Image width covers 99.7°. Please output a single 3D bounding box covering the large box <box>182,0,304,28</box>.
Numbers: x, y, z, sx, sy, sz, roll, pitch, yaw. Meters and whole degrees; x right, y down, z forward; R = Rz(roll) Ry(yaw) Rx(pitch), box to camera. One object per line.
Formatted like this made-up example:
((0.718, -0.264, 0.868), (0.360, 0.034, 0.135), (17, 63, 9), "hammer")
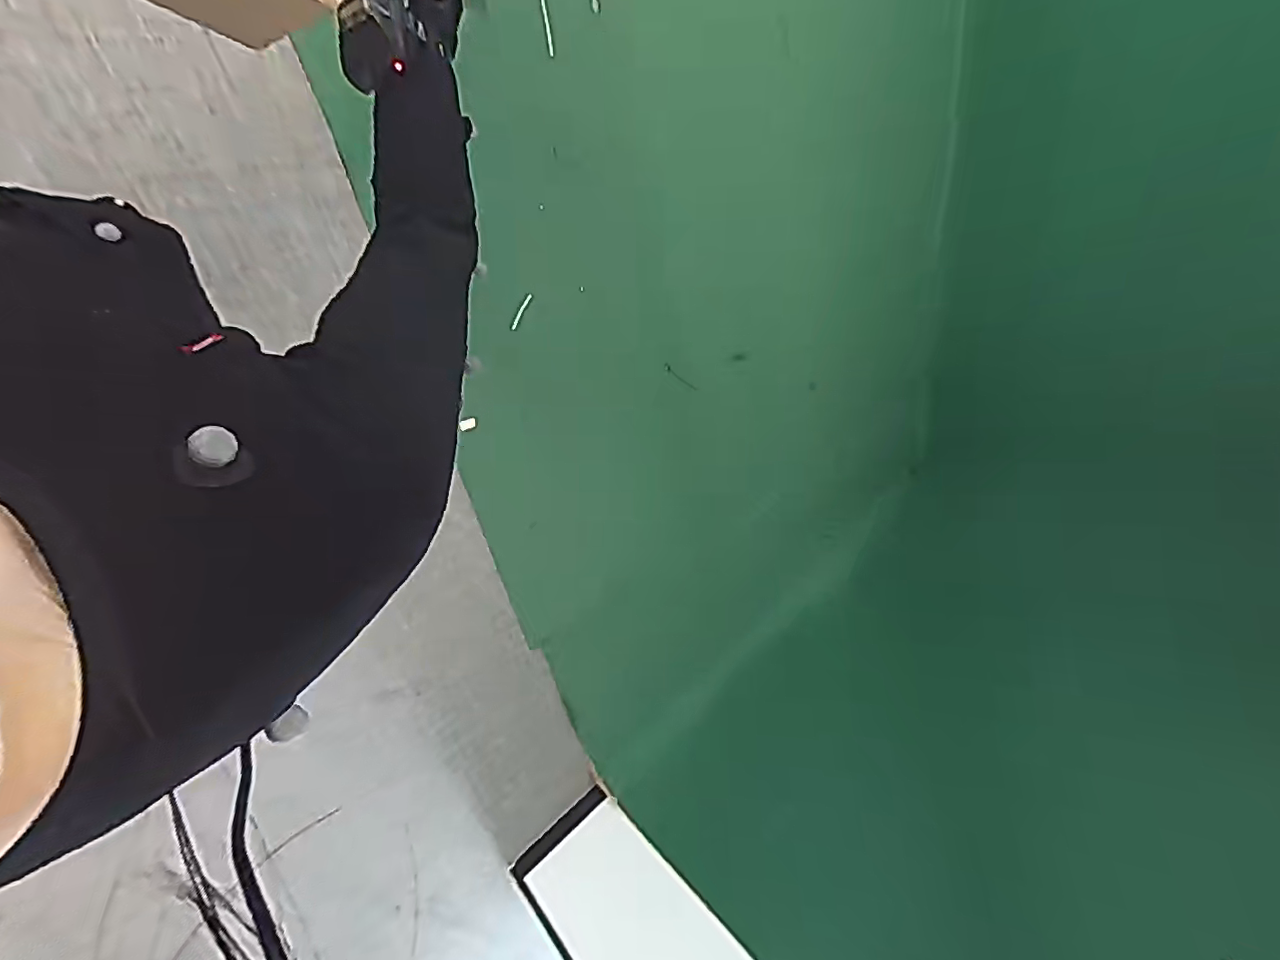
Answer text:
((-0.447, -0.585, 0.343), (0.408, 0.320, 0.320), (0, 114, -45), "large box")
